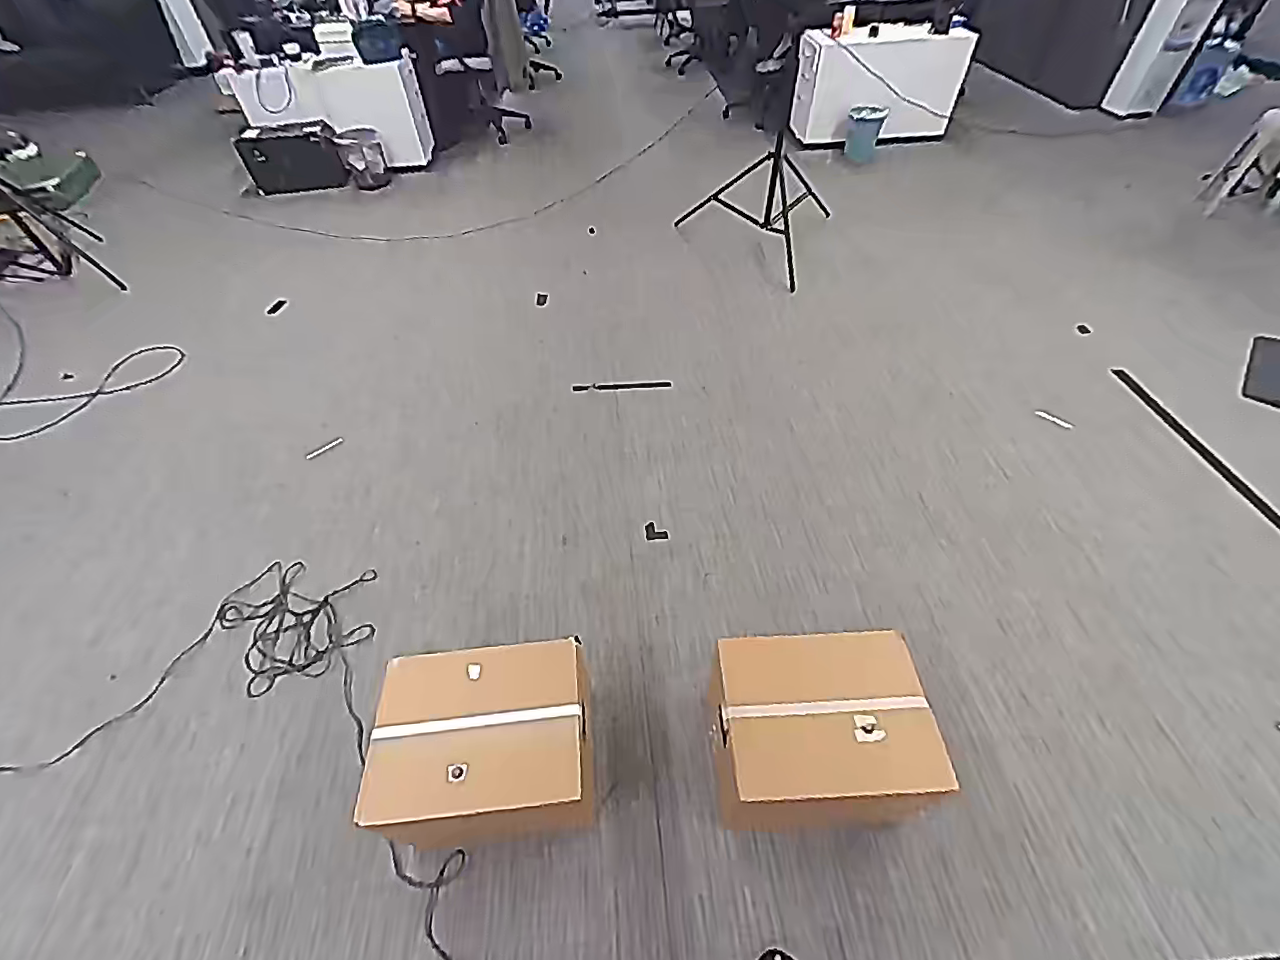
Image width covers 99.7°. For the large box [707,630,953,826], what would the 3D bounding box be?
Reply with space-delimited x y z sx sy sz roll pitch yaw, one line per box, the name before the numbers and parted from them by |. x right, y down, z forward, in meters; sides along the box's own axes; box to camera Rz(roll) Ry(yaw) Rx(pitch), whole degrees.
large box | 0.376 0.553 1.199 0.408 0.320 0.320 -2 50 -1
